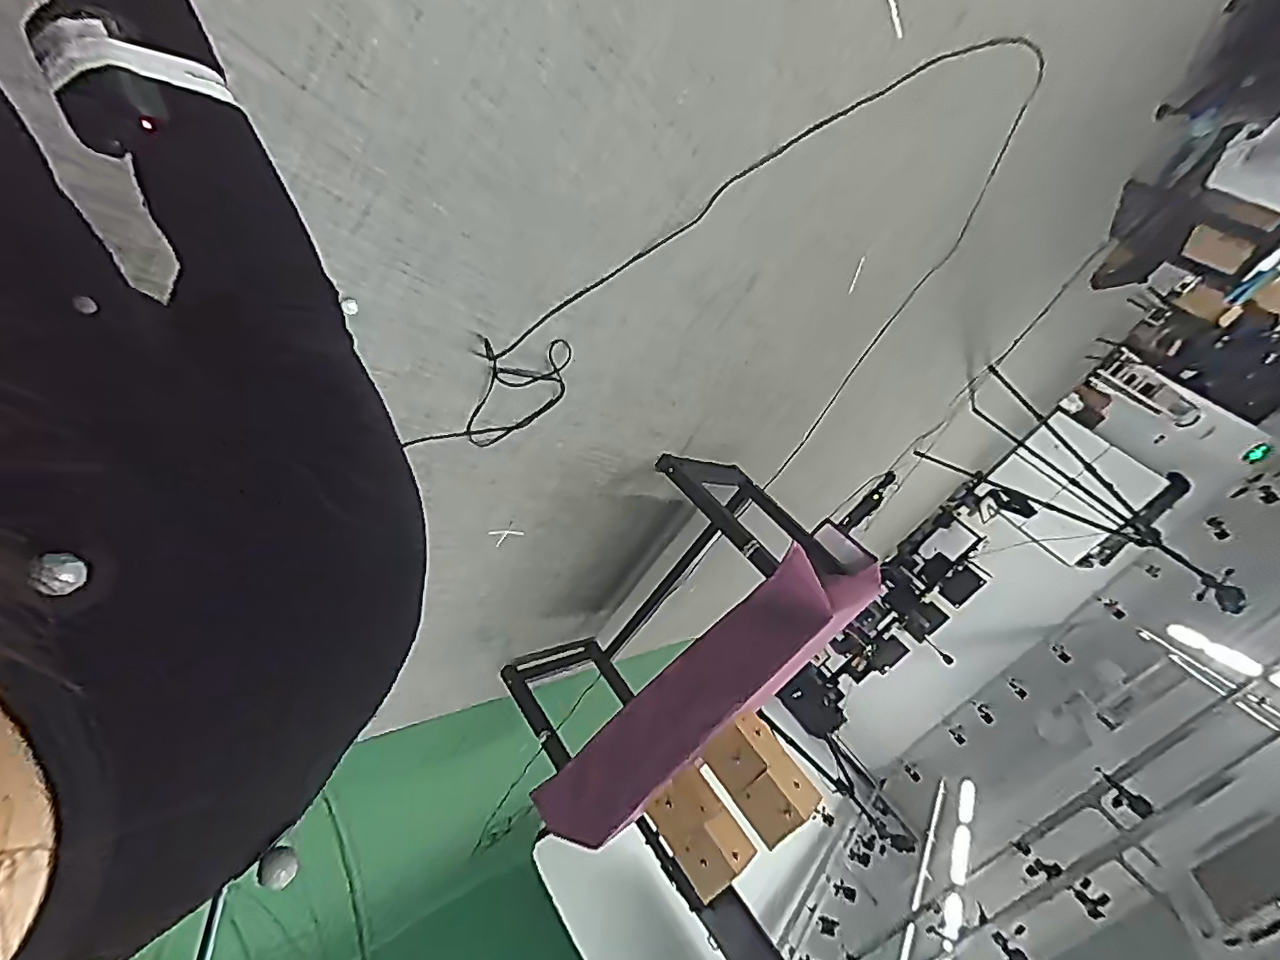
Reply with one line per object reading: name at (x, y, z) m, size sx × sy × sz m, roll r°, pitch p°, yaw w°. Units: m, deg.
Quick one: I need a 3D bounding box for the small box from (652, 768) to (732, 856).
small box at (0.175, 1.120, 1.843) m, size 0.168 × 0.176 × 0.179 m, roll -52°, pitch 150°, yaw 15°

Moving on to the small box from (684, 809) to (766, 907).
small box at (0.275, 1.226, 1.765) m, size 0.168 × 0.176 × 0.179 m, roll -52°, pitch 150°, yaw 16°

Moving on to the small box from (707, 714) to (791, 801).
small box at (0.350, 0.882, 1.745) m, size 0.179 × 0.176 × 0.168 m, roll -53°, pitch 150°, yaw 15°
